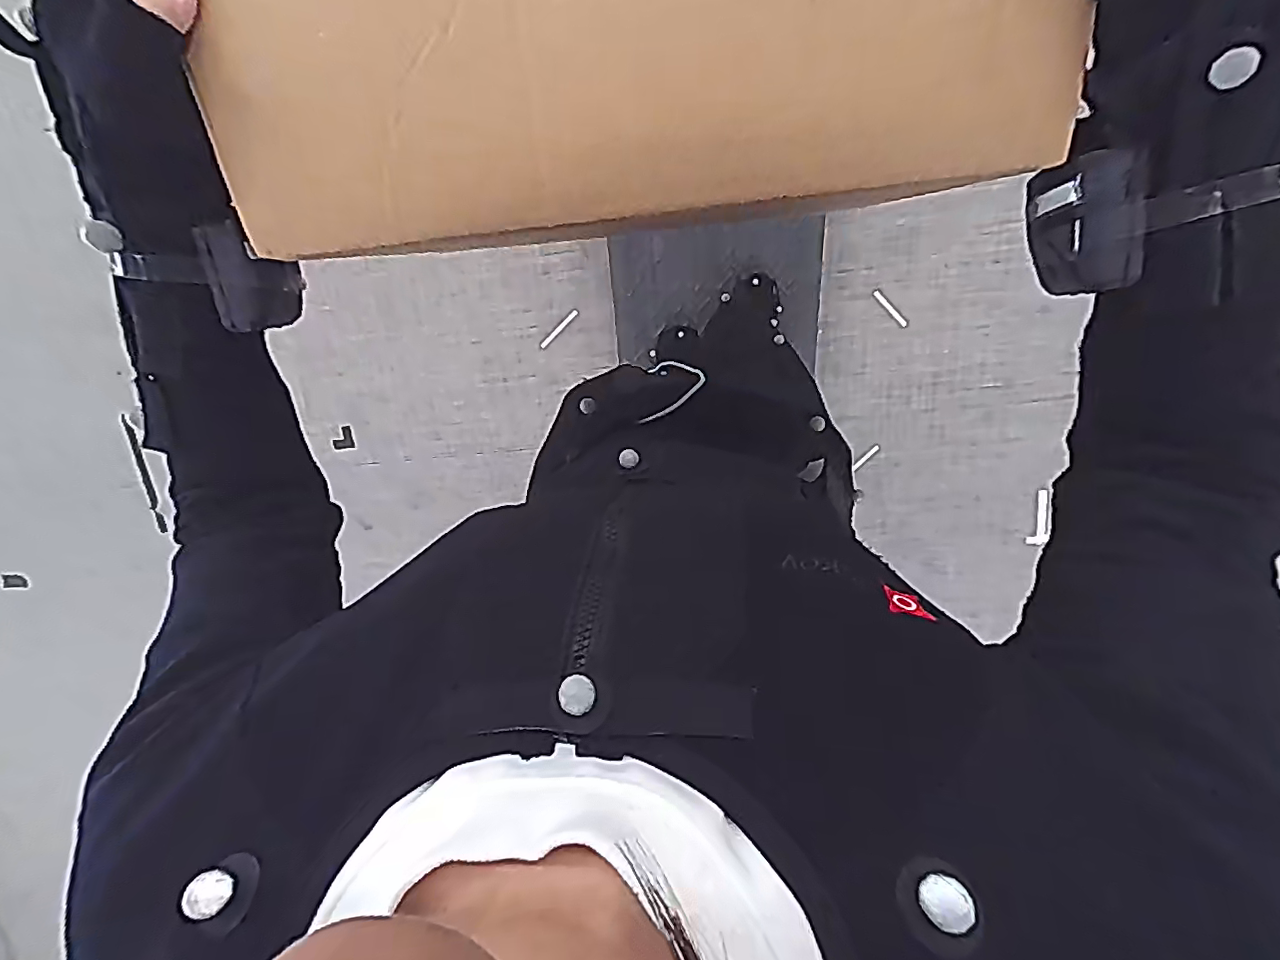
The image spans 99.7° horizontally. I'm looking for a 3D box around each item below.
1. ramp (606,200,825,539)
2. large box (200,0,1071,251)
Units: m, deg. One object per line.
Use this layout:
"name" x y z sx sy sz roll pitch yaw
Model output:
"ramp" 0.195 -0.272 1.378 0.509 0.206 0.991 -3 107 7
"large box" -0.008 -0.343 0.357 0.408 0.320 0.320 -4 114 7
